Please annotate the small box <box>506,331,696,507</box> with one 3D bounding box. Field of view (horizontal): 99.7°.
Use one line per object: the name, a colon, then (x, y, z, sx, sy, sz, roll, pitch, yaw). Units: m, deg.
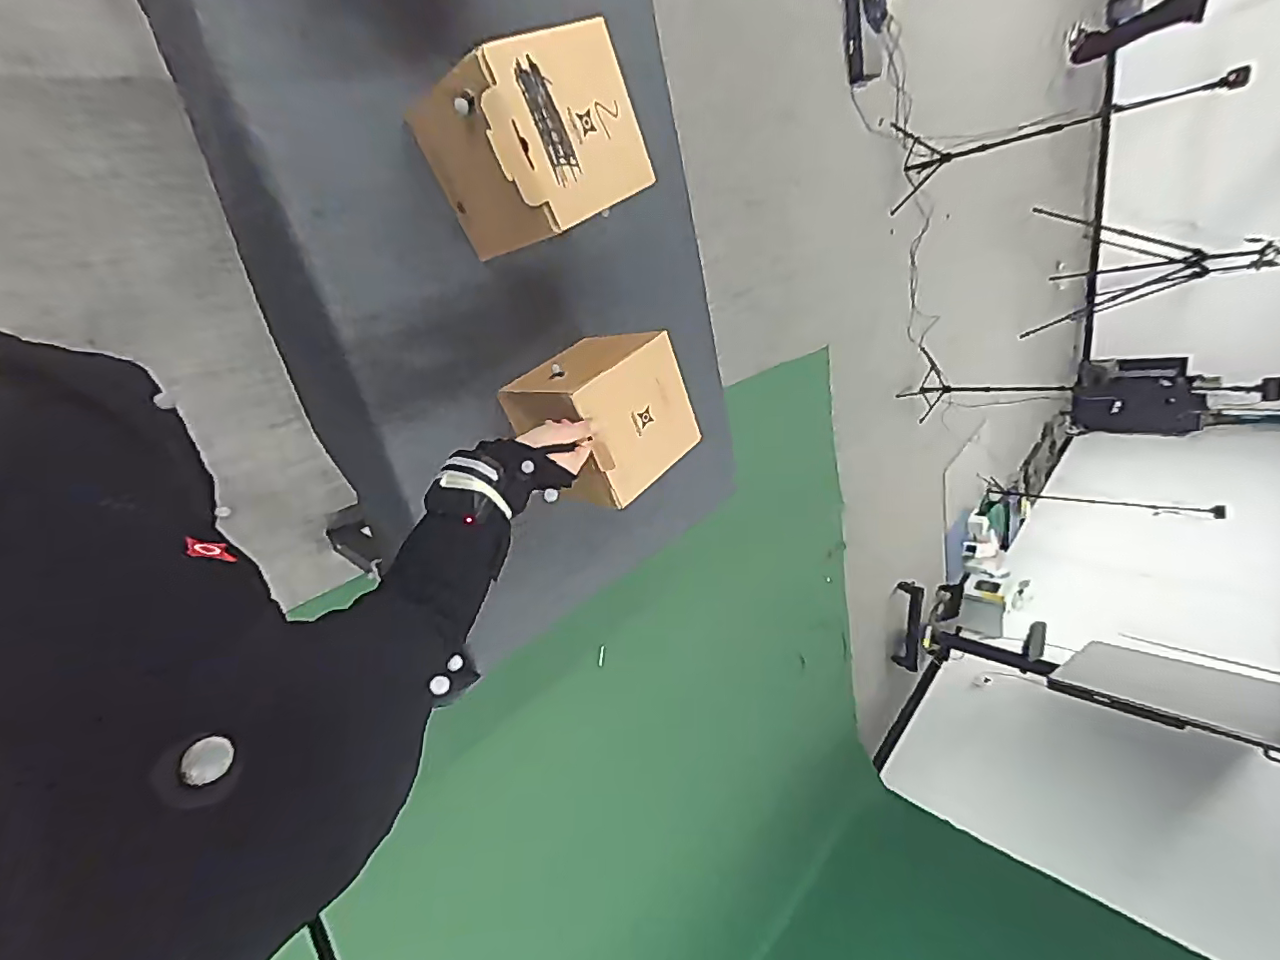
small box: (-0.057, -0.088, 0.737, 0.179, 0.176, 0.168, -42, 125, -33)
